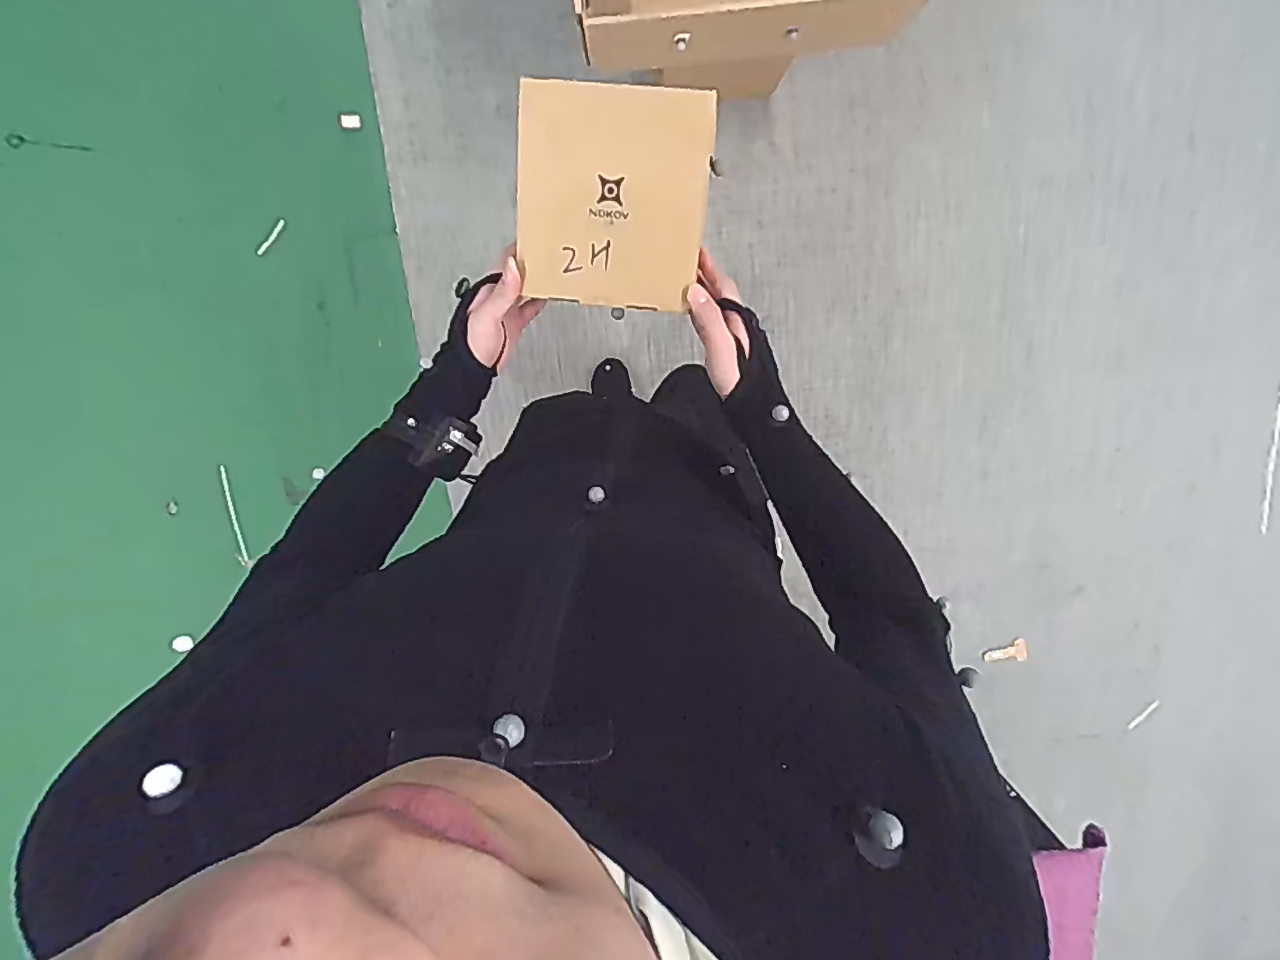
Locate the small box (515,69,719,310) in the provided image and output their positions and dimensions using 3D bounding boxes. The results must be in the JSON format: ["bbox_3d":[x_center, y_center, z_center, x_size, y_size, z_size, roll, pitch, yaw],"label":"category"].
[{"bbox_3d":[-0.018,-0.272,0.545,0.168,0.176,0.179,8,109,4],"label":"small box"}]
